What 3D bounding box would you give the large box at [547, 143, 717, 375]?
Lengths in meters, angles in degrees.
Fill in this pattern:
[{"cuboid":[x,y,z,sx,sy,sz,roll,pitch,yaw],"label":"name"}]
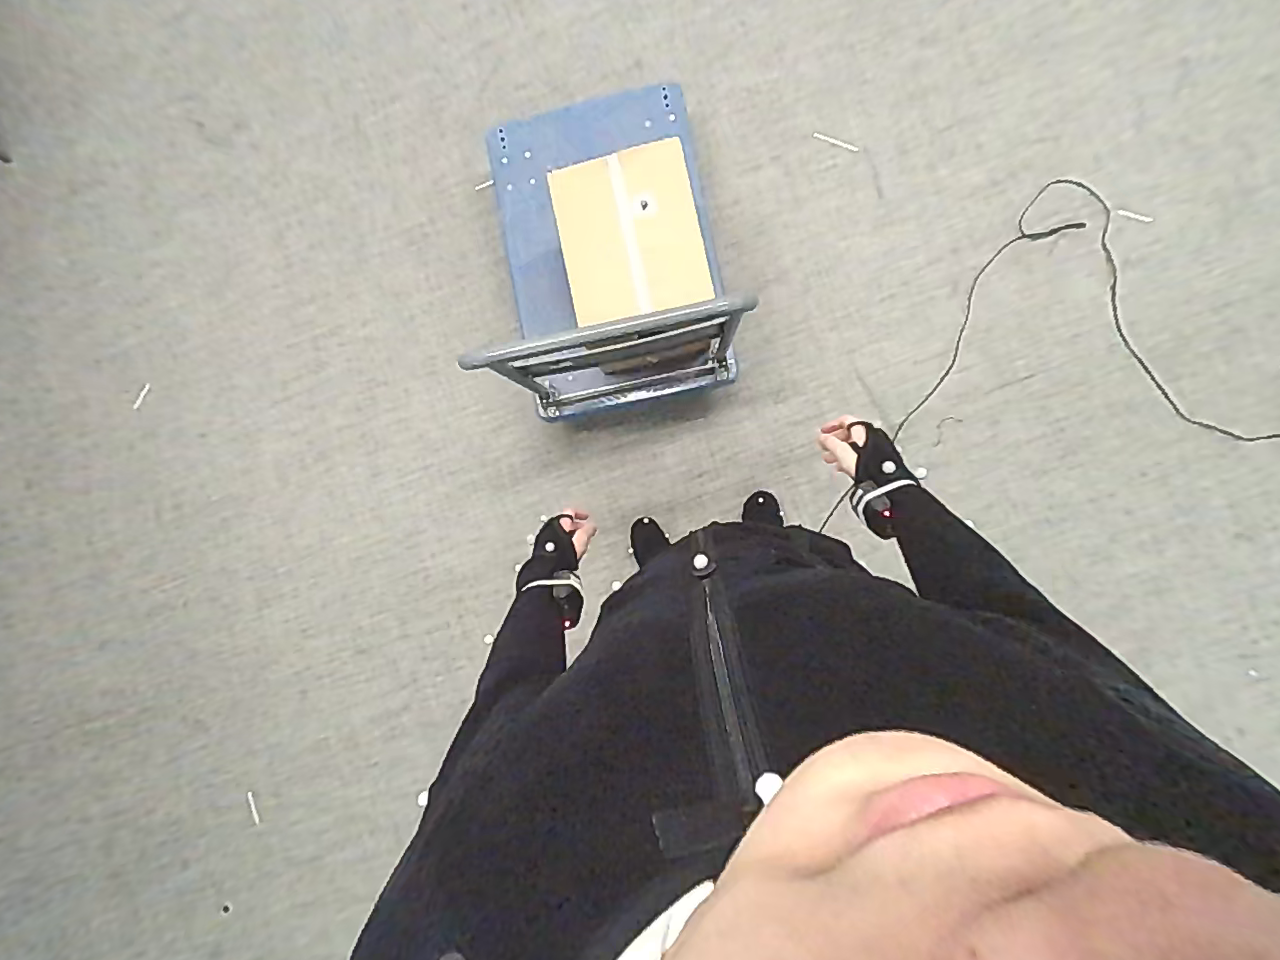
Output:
[{"cuboid":[-0.006,-0.522,1.354,0.320,0.320,0.408,-12,86,4],"label":"large box"}]
